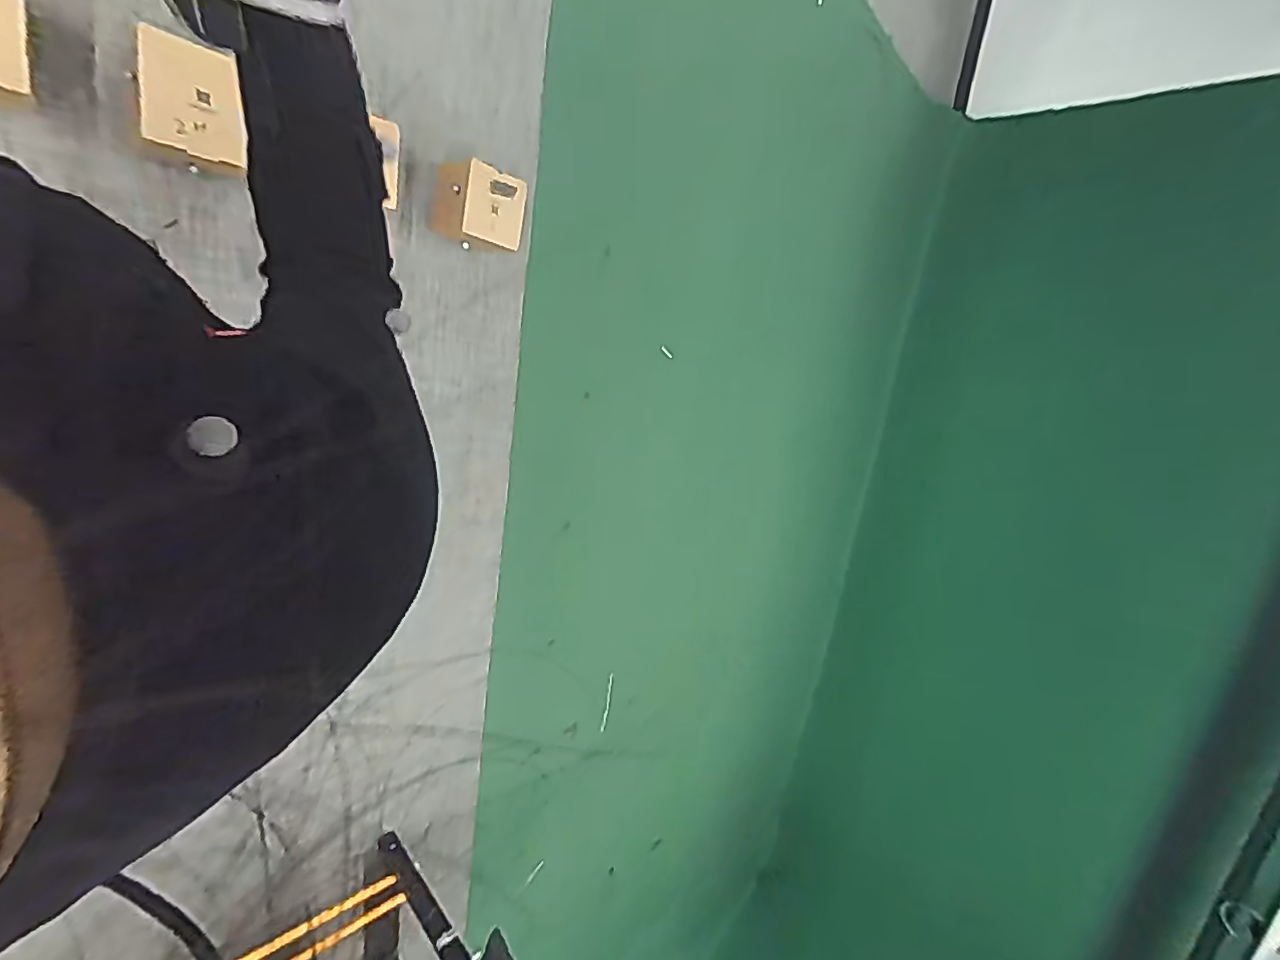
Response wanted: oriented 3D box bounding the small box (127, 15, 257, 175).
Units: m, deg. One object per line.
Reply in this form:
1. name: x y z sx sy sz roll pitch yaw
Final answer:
1. small box: -0.822 -0.687 0.993 0.168 0.176 0.179 -4 108 -46

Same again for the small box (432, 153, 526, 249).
1. small box: -0.426 -0.721 1.416 0.168 0.176 0.179 0 106 -47
